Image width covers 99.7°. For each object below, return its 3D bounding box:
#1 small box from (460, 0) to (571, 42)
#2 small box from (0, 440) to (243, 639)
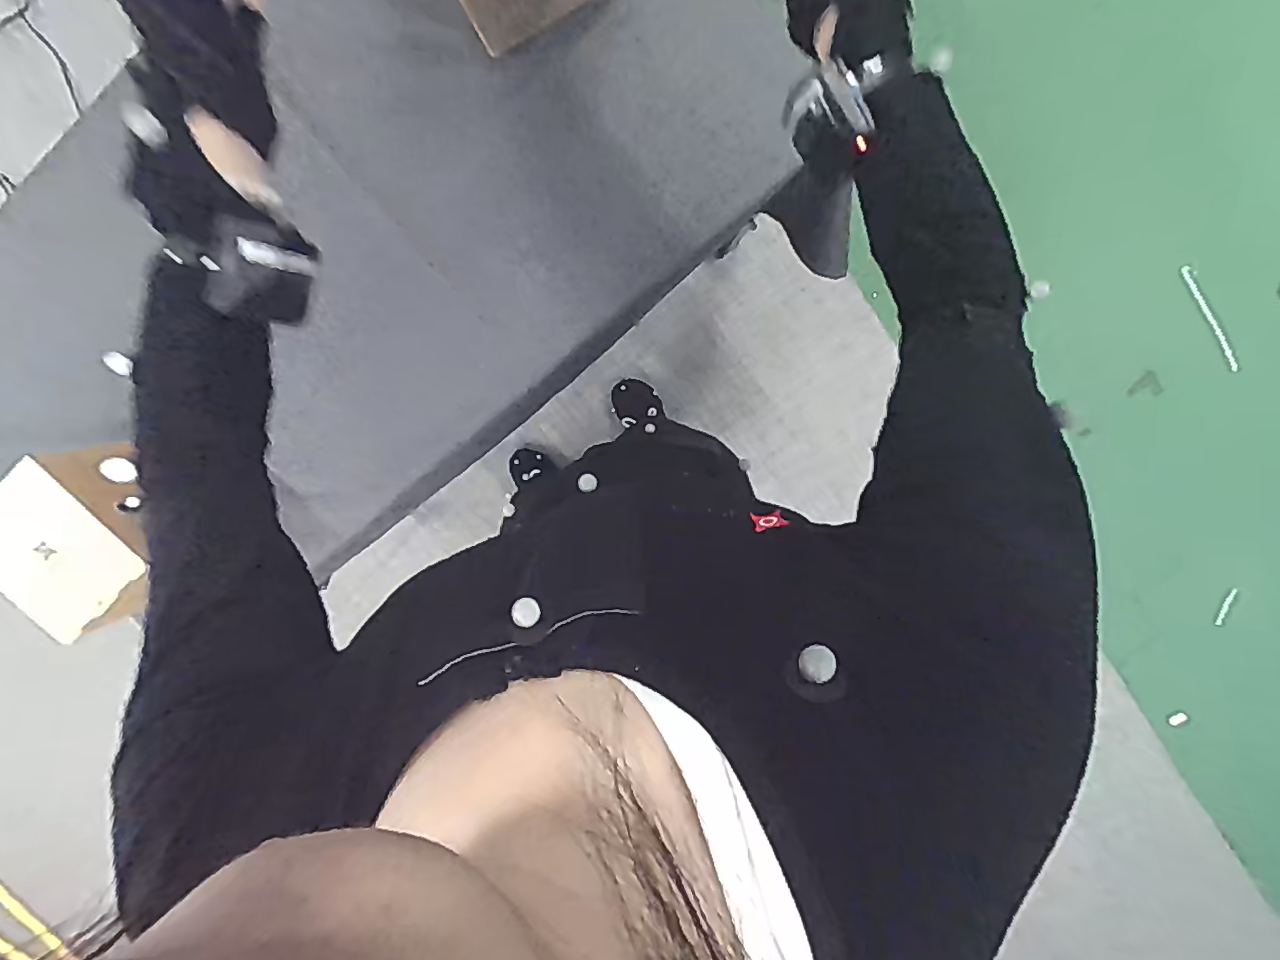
[{"bbox_3d":[-0.139,-0.593,0.533,0.179,0.176,0.168,-25,102,7],"label":"small box"},{"bbox_3d":[-0.687,0.063,0.705,0.168,0.176,0.179,-40,100,9],"label":"small box"}]
